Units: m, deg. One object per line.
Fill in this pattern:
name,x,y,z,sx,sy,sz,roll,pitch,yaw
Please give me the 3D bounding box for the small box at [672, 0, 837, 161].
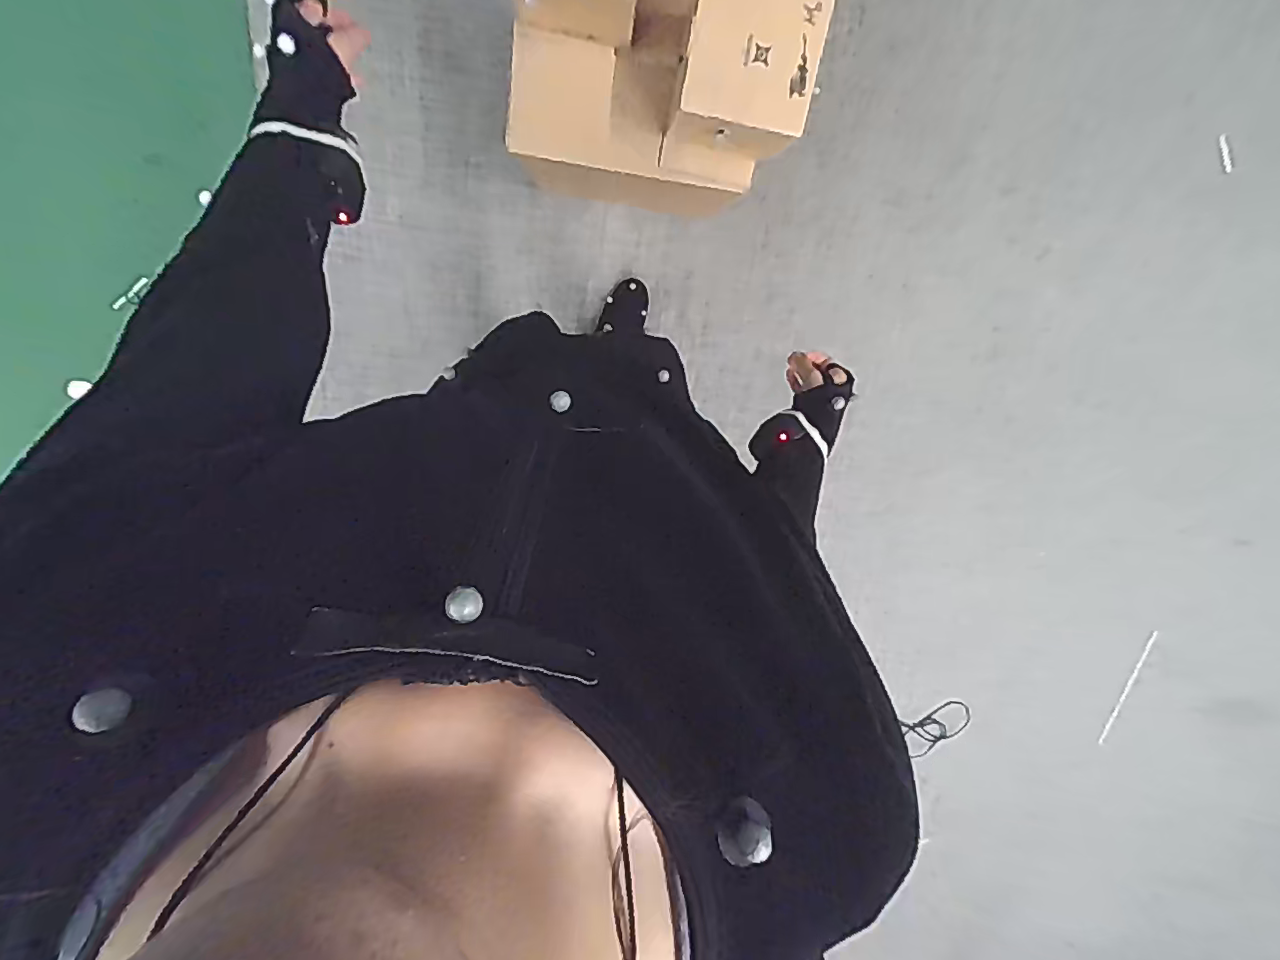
small box,0.147,-0.577,0.775,0.179,0.176,0.168,10,112,-5
